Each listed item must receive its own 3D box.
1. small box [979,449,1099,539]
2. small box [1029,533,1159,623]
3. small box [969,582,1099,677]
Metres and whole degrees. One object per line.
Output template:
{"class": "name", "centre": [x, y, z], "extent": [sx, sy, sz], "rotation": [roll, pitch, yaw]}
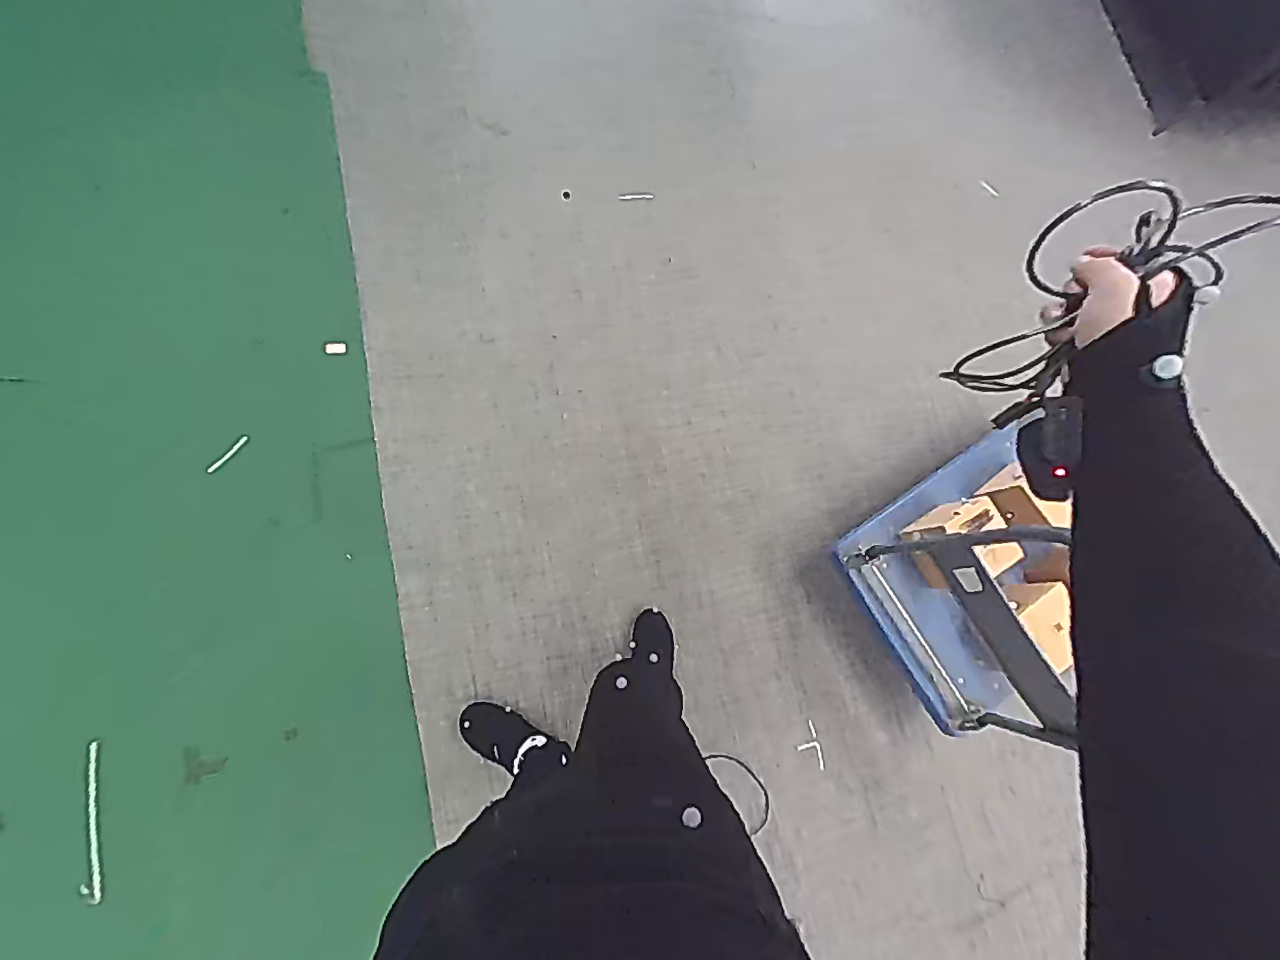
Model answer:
{"class": "small box", "centre": [1.071, 0.045, 1.472], "extent": [0.179, 0.176, 0.168], "rotation": [-34, 86, -16]}
{"class": "small box", "centre": [1.204, 0.263, 1.446], "extent": [0.179, 0.176, 0.168], "rotation": [-32, 84, -15]}
{"class": "small box", "centre": [0.997, 0.376, 1.383], "extent": [0.179, 0.176, 0.168], "rotation": [-28, 83, -15]}
